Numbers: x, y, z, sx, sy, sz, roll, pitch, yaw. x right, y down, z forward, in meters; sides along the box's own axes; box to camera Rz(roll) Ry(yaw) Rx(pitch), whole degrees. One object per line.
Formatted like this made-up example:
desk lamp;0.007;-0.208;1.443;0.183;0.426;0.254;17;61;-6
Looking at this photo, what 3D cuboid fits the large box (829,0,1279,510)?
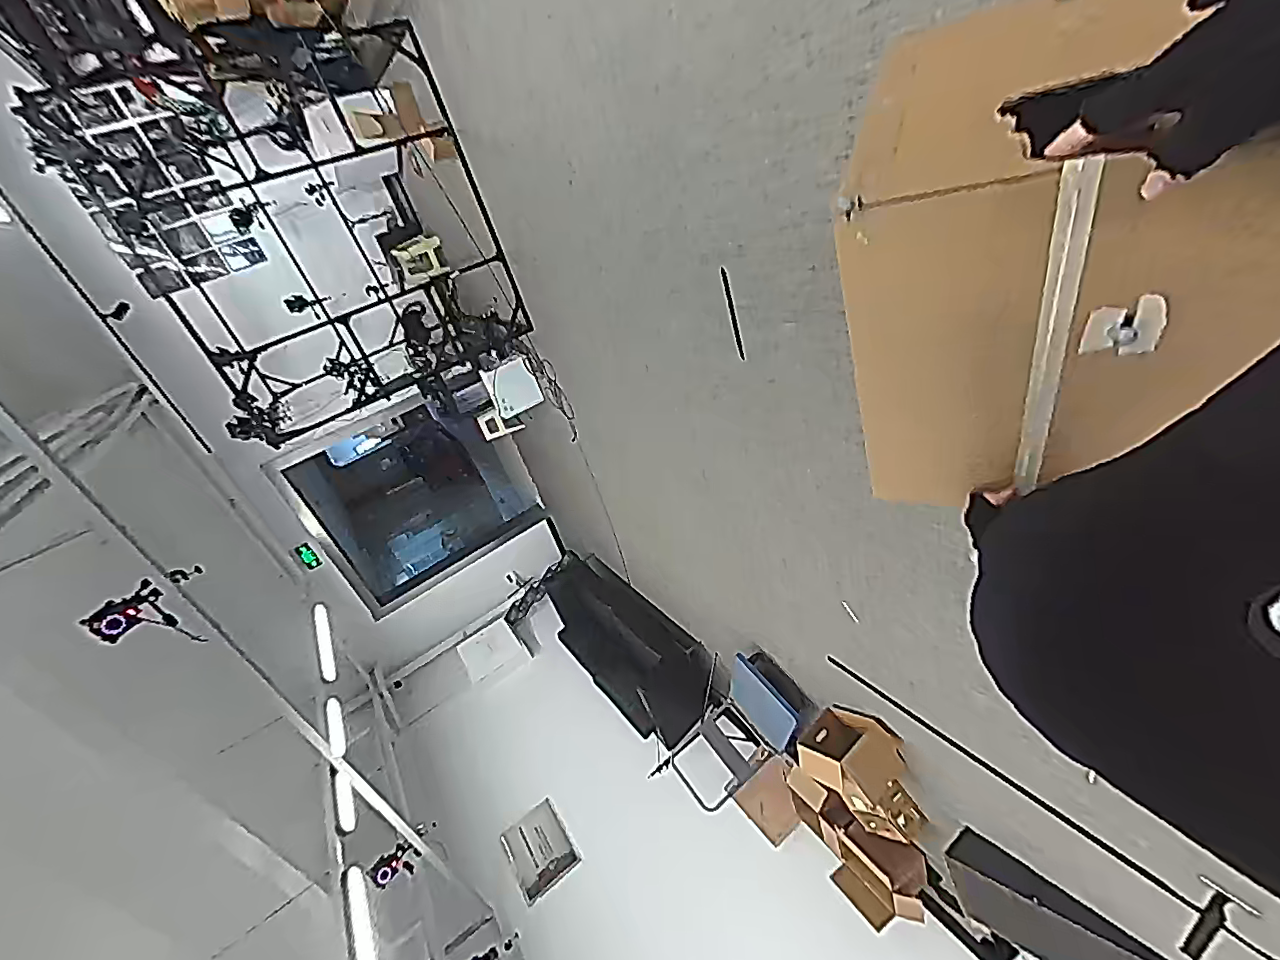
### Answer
large box;0.415;-0.216;0.562;0.320;0.320;0.408;2;143;32
